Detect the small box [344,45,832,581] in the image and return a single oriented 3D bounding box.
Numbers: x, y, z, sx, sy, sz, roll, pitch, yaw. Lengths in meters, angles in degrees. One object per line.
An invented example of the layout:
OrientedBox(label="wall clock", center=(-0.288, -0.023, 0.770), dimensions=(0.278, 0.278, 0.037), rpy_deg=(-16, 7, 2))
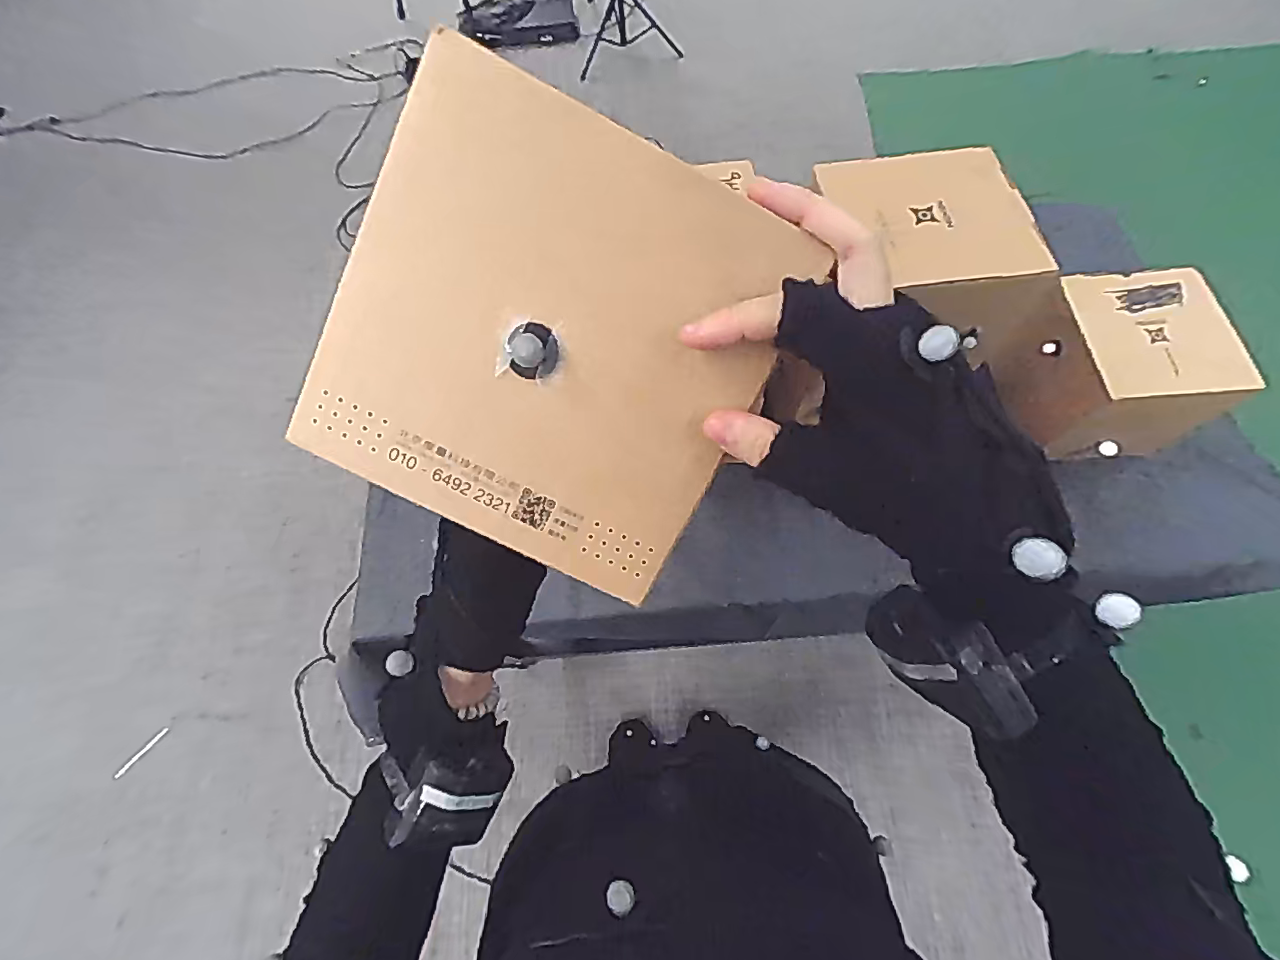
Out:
OrientedBox(label="small box", center=(-0.031, -0.070, 0.299), dimensions=(0.168, 0.179, 0.176), rpy_deg=(27, 101, -5))
